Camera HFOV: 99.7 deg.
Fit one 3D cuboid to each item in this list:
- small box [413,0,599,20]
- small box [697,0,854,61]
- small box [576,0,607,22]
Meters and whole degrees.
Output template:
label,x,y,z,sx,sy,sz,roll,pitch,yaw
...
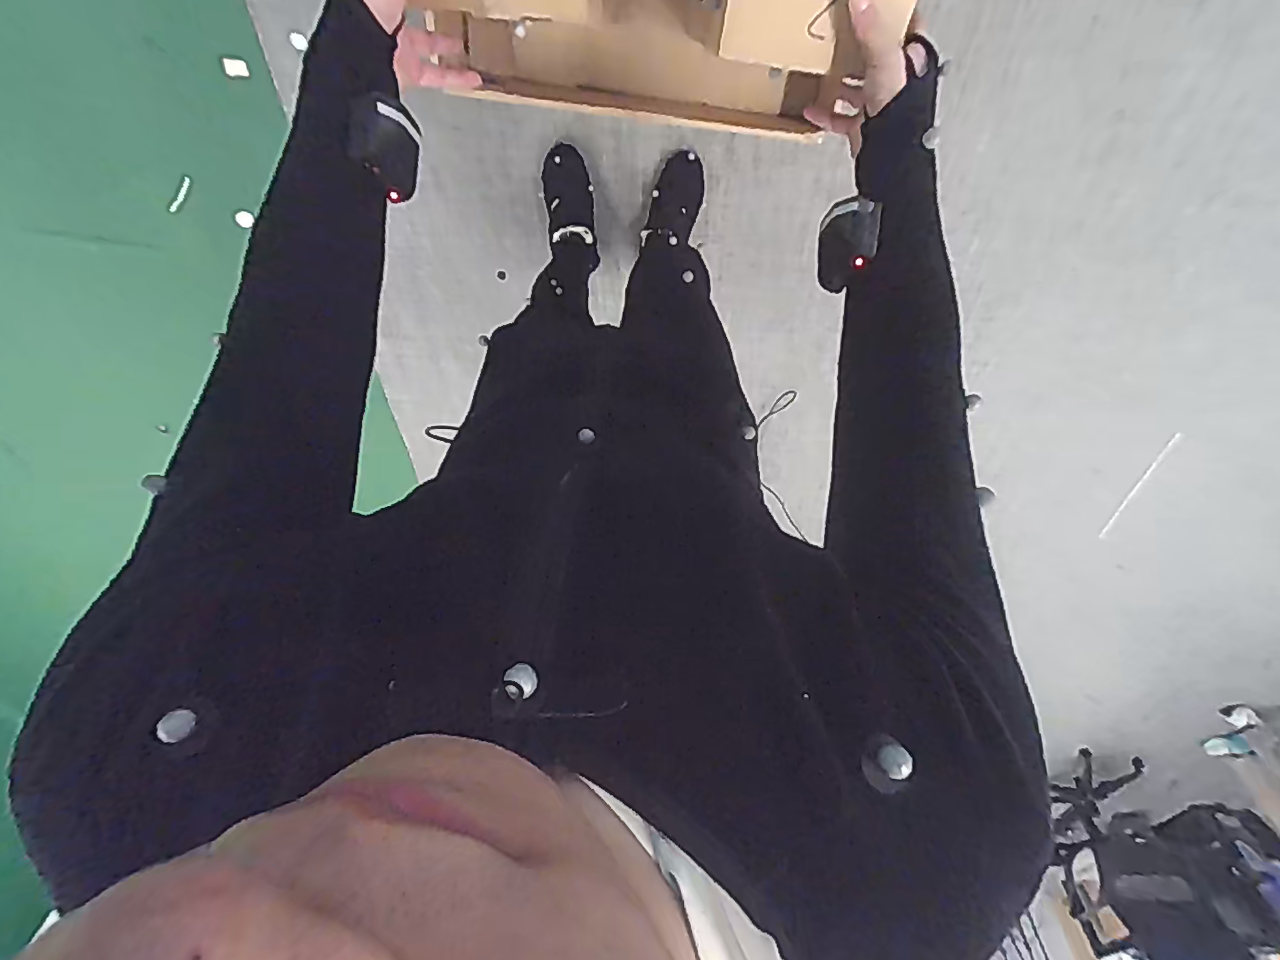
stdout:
label,x,y,z,sx,sy,sz,roll,pitch,yaw
small box,-0.123,-0.541,0.492,0.168,0.176,0.179,5,131,-1
small box,0.162,-0.612,0.627,0.168,0.176,0.179,7,129,-4
small box,-0.119,-0.649,0.616,0.168,0.176,0.179,7,131,-3
